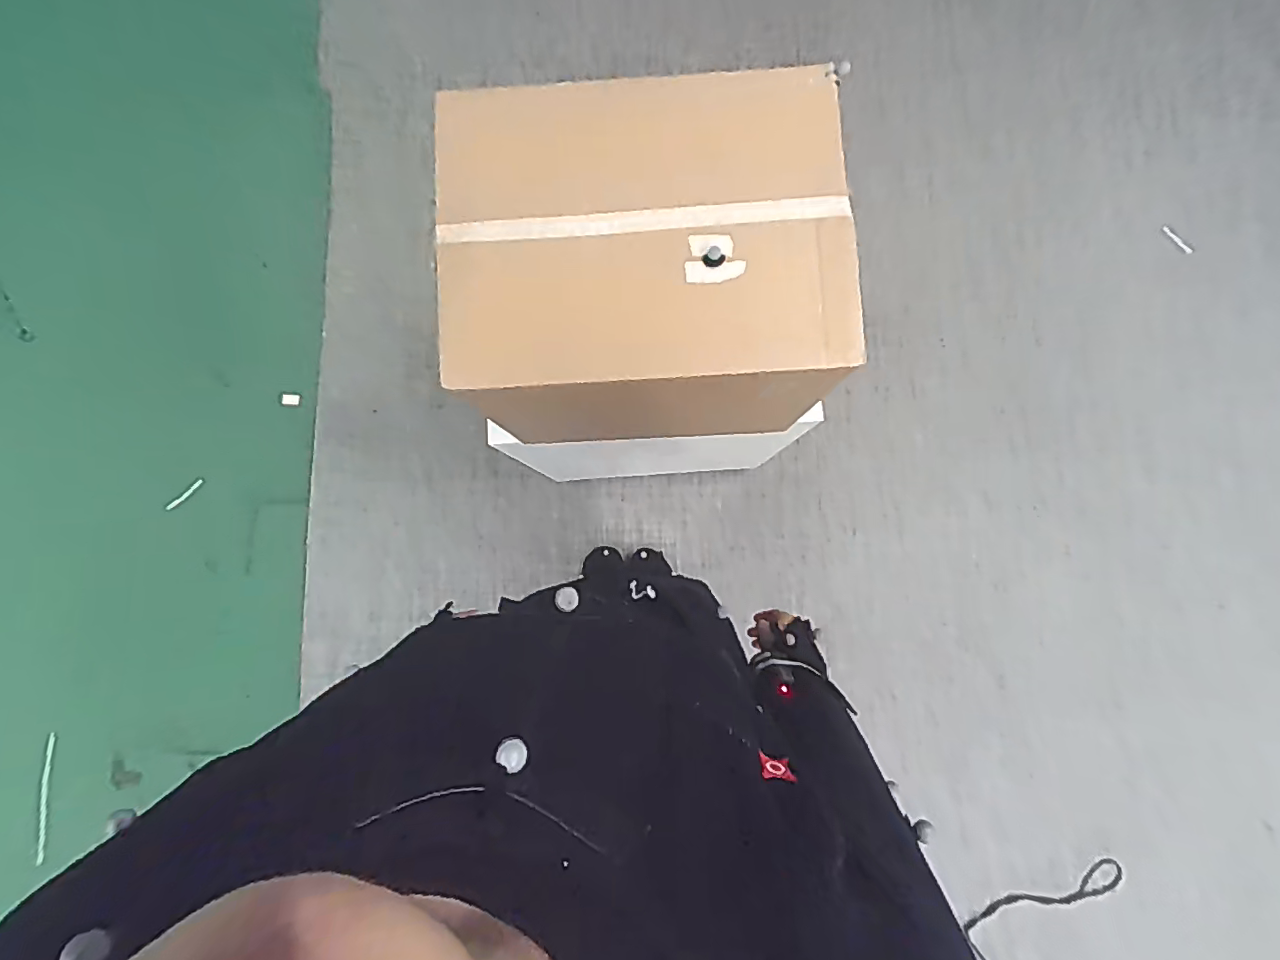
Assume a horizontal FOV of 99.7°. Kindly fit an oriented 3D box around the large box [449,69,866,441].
[{"bbox_3d":[0.011,-0.239,0.684,0.408,0.320,0.320,-3,84,0],"label":"large box"}]
